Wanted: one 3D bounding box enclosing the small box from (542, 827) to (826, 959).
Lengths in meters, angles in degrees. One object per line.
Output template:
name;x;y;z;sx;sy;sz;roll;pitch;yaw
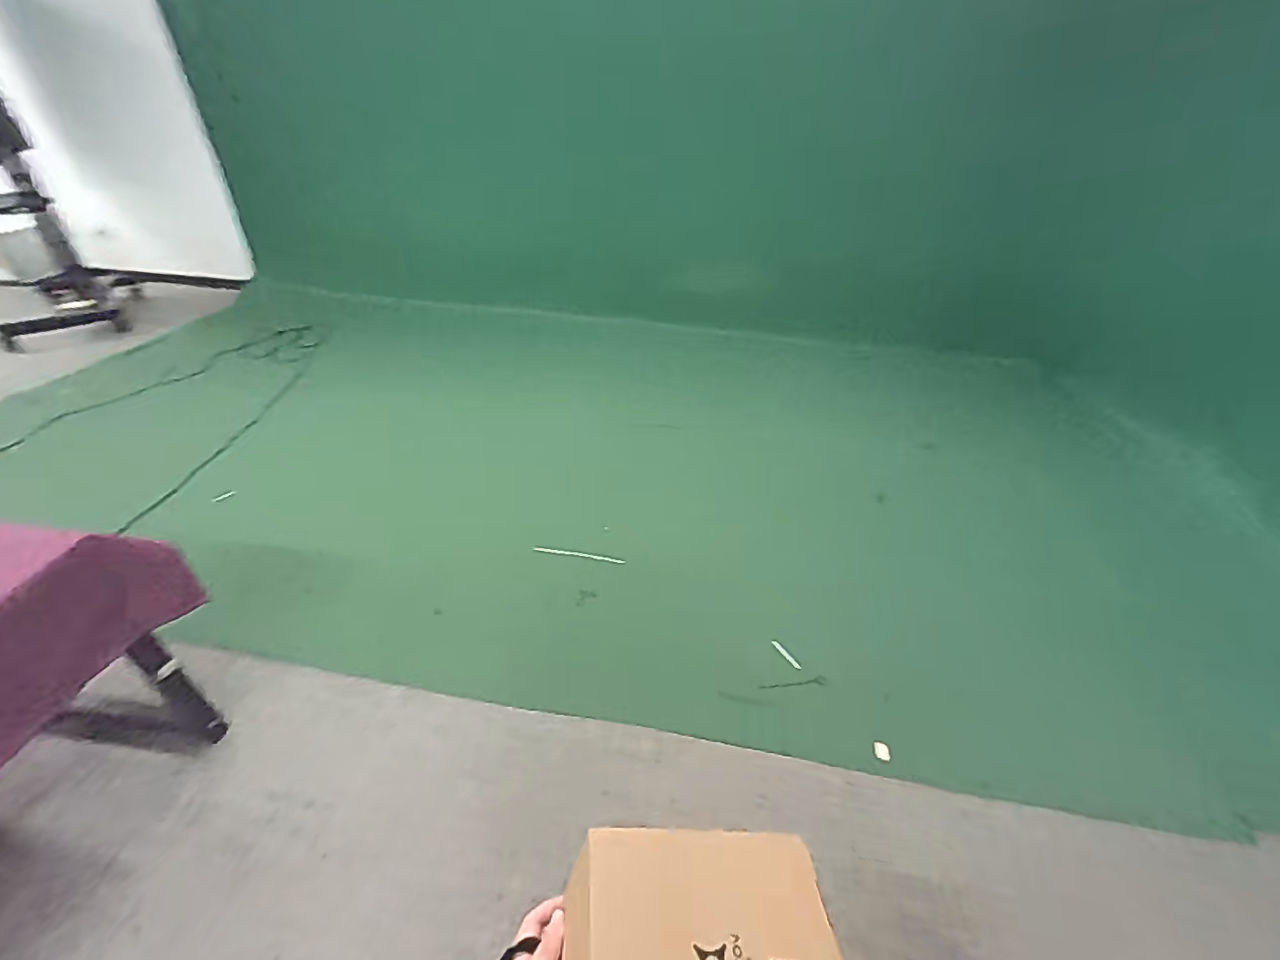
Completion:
small box;0.022;0.378;0.381;0.179;0.176;0.168;11;30;-12
